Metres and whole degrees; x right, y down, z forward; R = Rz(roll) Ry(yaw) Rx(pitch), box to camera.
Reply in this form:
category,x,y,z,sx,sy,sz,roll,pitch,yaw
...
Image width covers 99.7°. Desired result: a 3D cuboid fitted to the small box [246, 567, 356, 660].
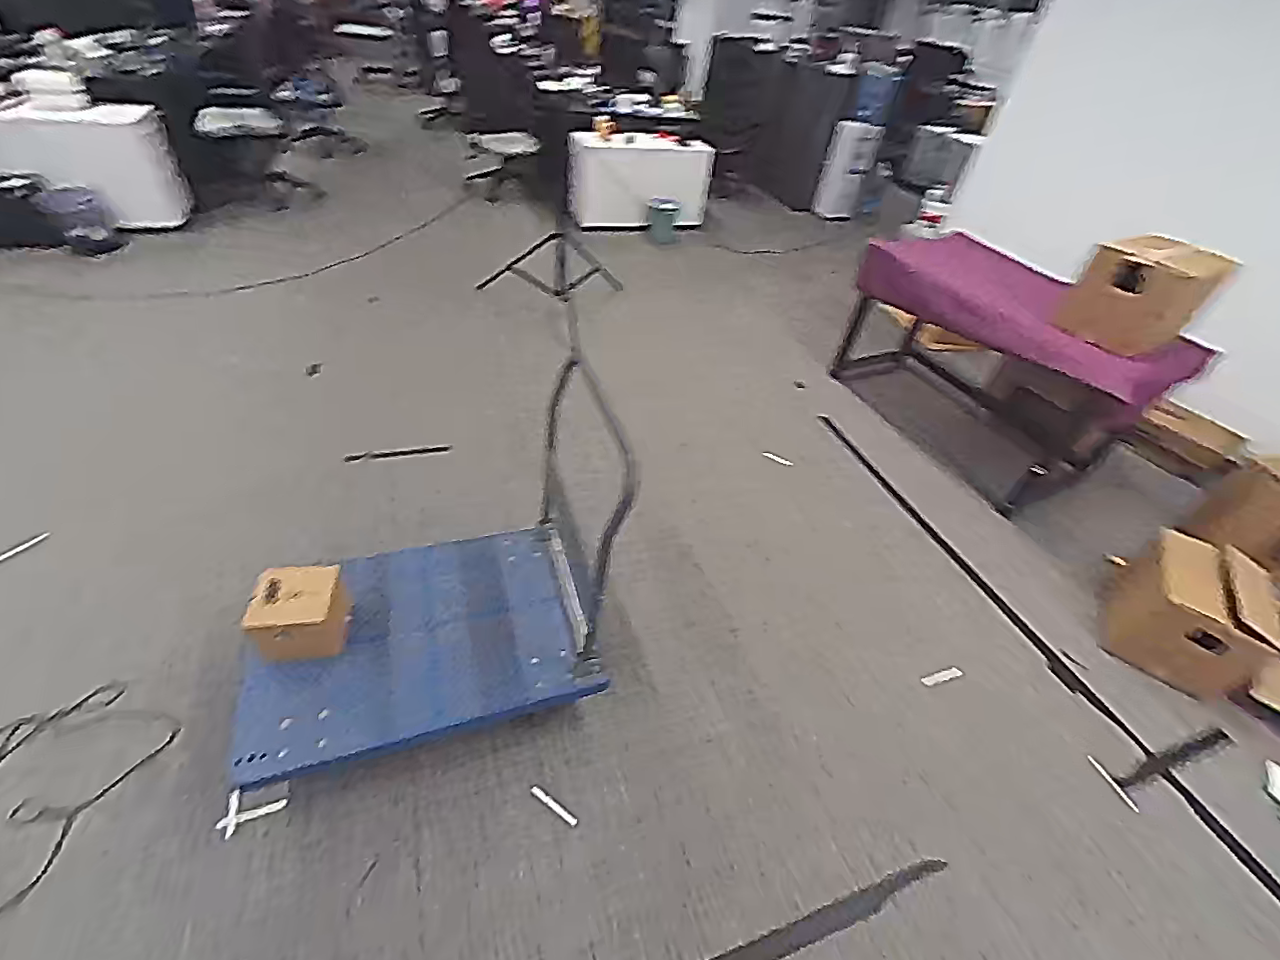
category,x,y,z,sx,sy,sz,roll,pitch,yaw
small box,-0.845,0.340,1.366,0.179,0.176,0.168,0,43,-13
